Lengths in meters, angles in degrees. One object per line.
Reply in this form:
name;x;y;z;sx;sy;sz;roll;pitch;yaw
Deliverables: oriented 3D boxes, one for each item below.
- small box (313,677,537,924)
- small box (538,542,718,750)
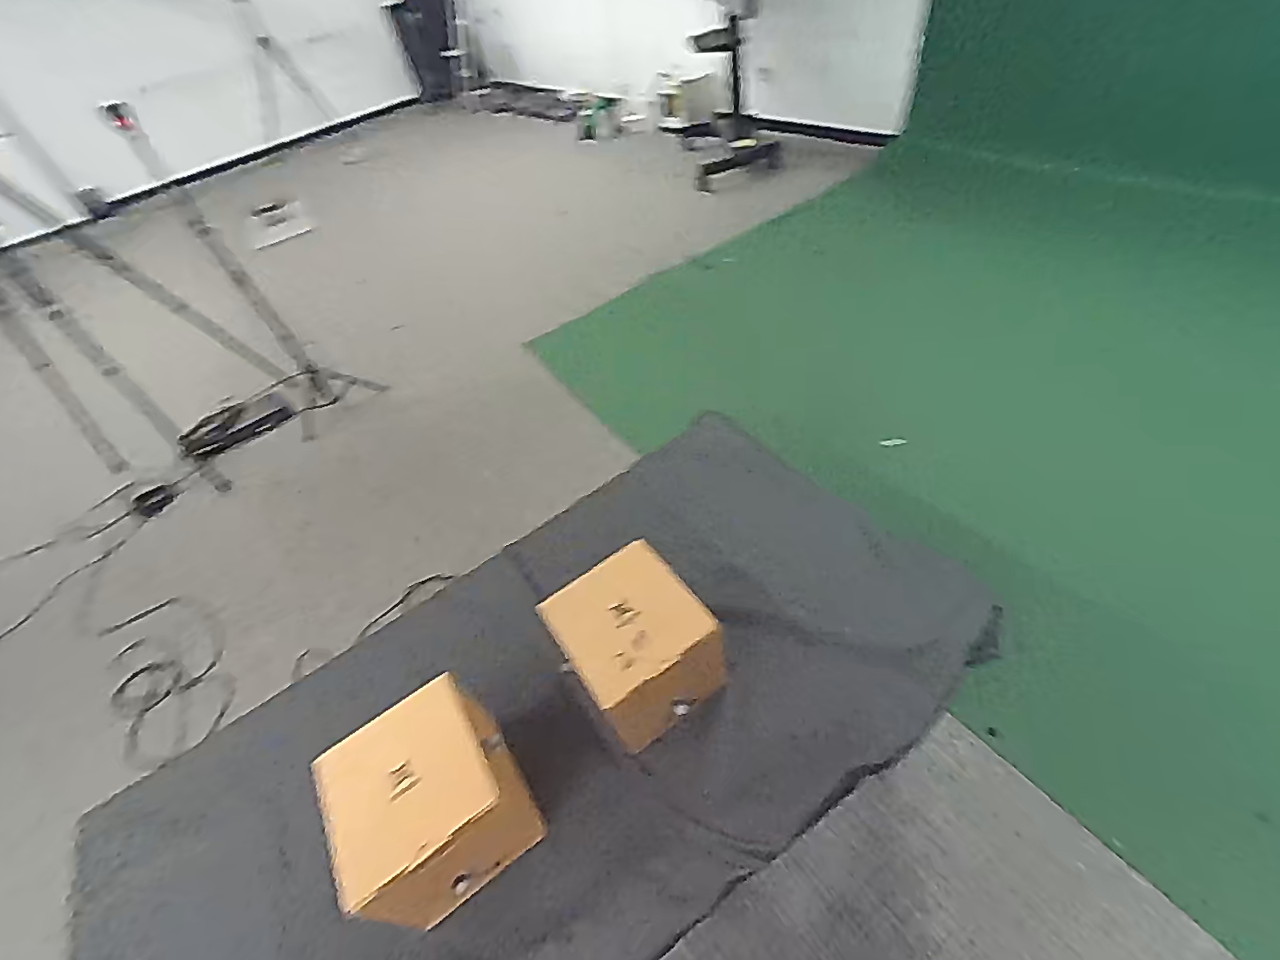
small box;-0.248;0.381;0.644;0.168;0.176;0.179;-32;49;-18
small box;-0.011;0.225;0.734;0.168;0.176;0.179;-32;49;-17
